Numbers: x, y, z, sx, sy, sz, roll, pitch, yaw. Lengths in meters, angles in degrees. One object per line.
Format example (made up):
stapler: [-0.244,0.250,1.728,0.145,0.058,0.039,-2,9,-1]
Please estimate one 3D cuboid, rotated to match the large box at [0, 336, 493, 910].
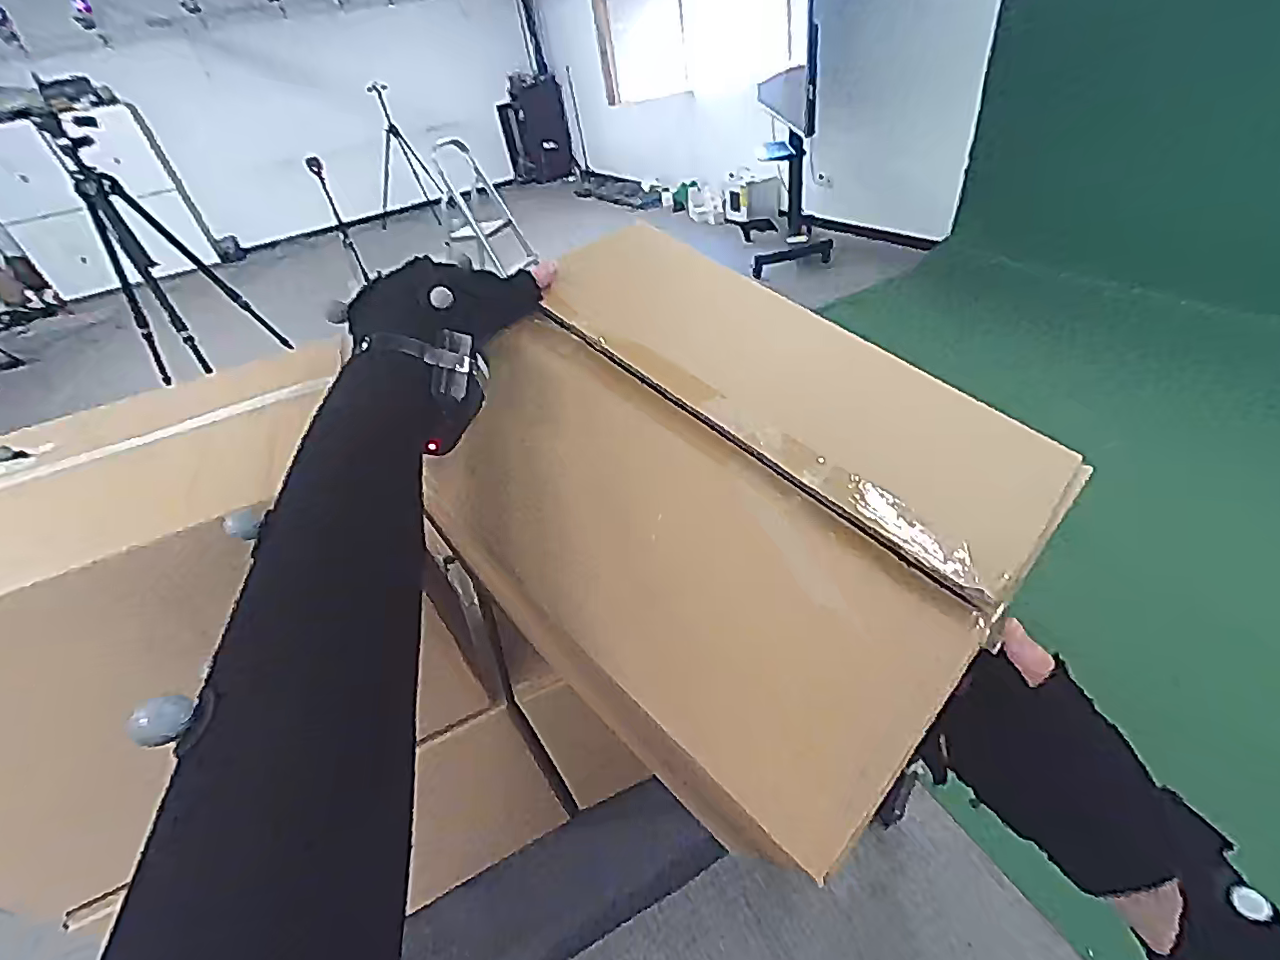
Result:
large box: [-0.414,0.108,0.532,0.408,0.320,0.320,-24,39,-14]
